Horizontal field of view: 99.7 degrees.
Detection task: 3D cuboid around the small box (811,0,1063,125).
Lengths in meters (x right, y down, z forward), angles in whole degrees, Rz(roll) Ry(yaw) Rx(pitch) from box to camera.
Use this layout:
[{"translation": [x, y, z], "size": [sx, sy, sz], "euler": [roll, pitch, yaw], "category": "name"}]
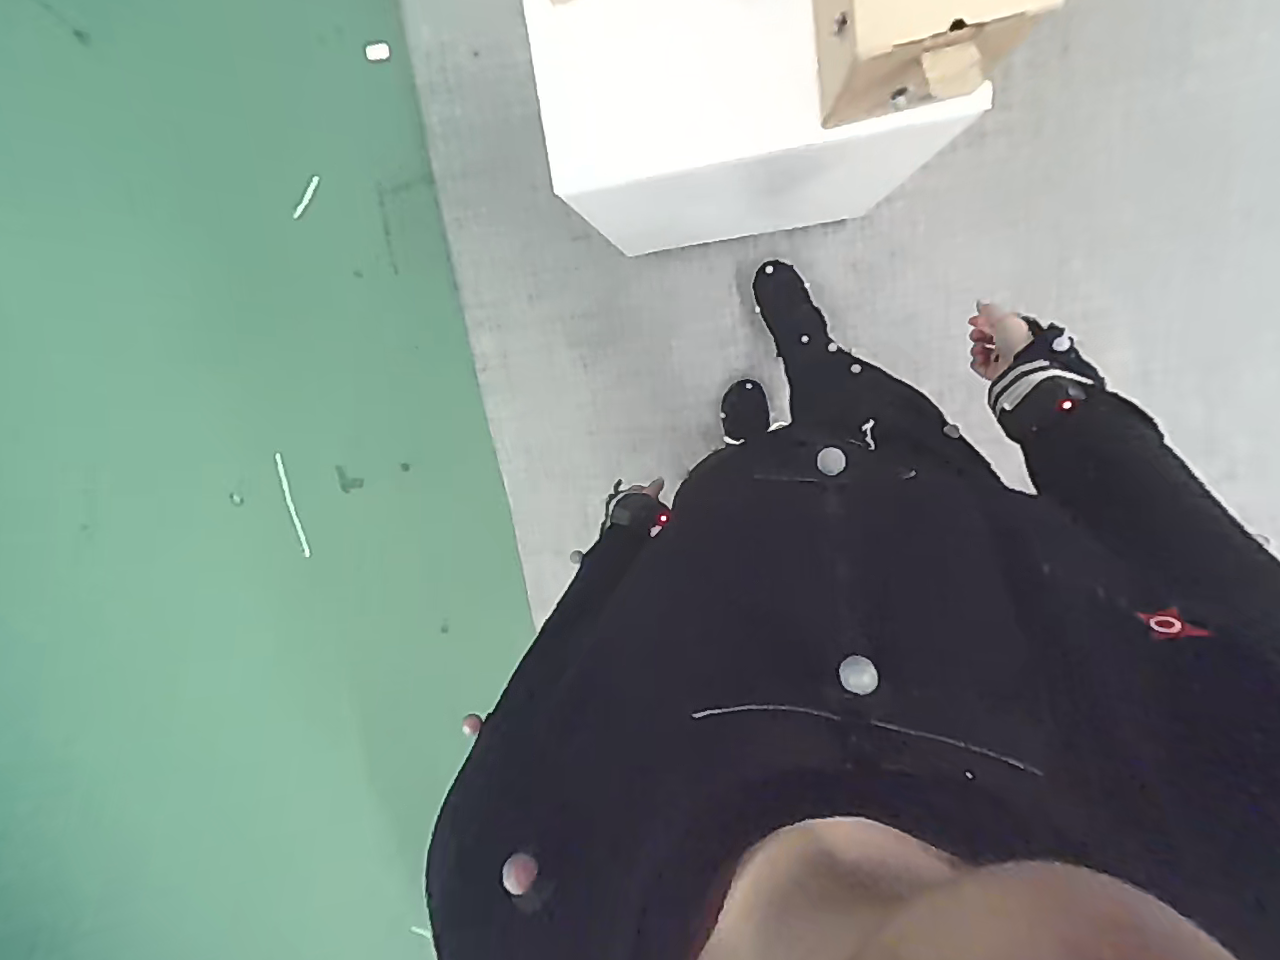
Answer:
[{"translation": [0.262, -0.479, 0.512], "size": [0.168, 0.176, 0.179], "euler": [-8, 103, 10], "category": "small box"}]
